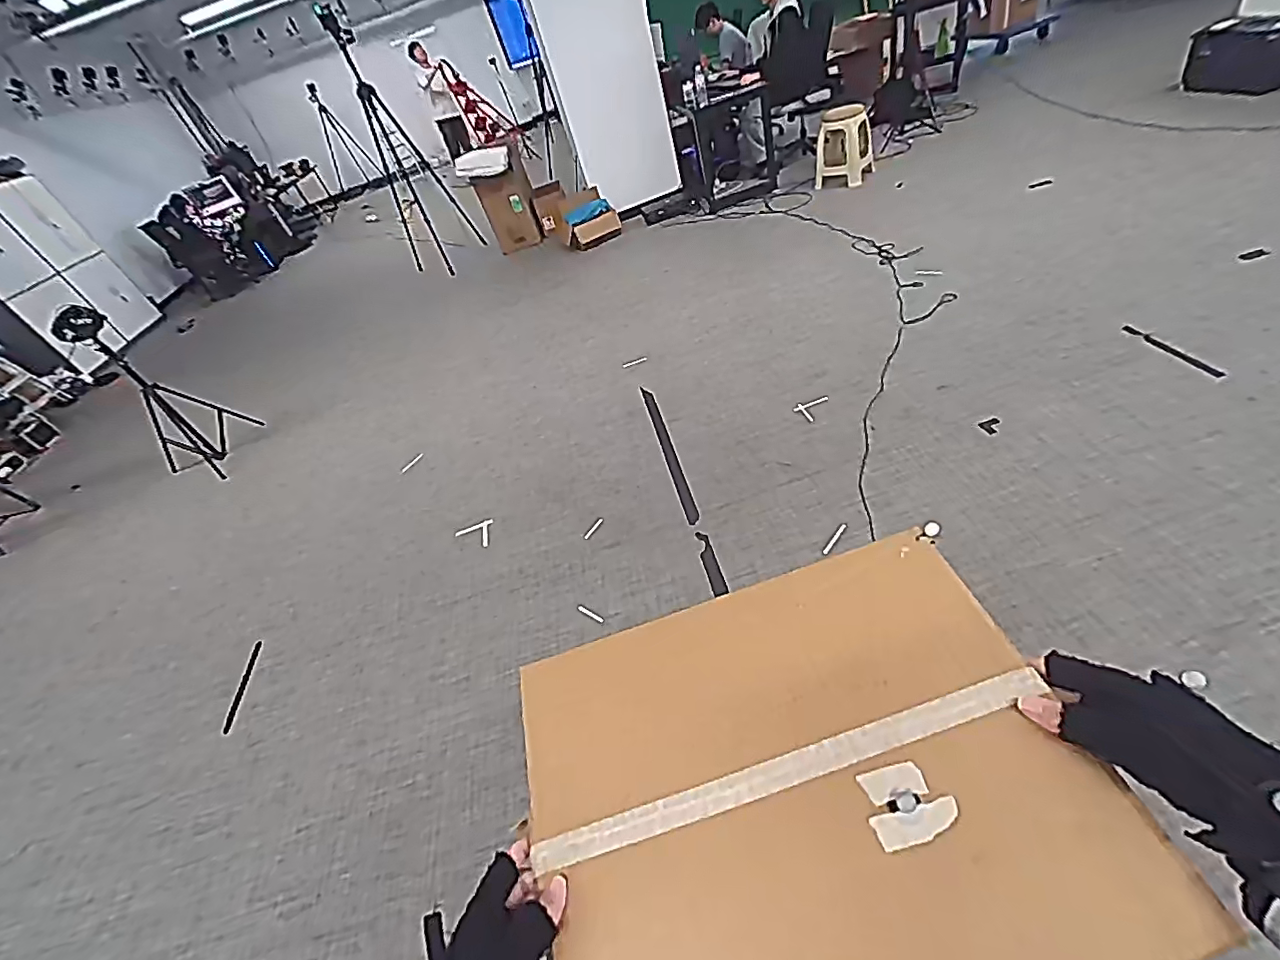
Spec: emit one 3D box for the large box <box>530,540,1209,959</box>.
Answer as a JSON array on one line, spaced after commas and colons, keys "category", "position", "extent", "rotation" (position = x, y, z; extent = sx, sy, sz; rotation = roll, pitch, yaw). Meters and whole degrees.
[{"category": "large box", "position": [0.150, 0.326, 0.527], "extent": [0.408, 0.320, 0.320], "rotation": [-20, 47, 0]}]
